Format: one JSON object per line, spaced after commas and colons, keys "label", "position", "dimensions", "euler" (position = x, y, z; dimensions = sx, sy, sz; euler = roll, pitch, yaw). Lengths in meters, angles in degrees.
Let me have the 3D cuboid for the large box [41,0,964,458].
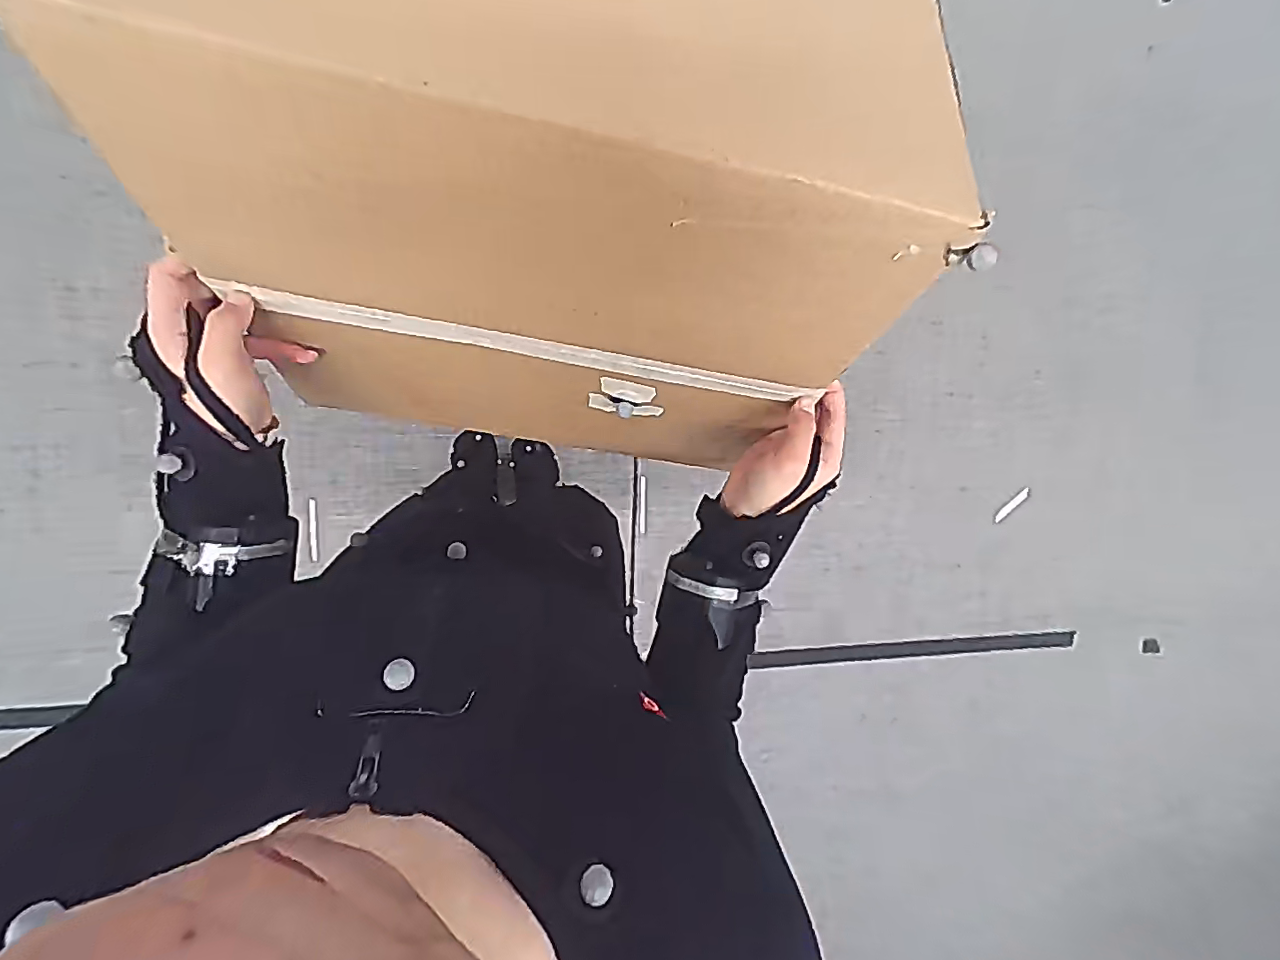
{"label": "large box", "position": [-0.055, -0.239, 0.423], "dimensions": [0.408, 0.320, 0.320], "euler": [8, 69, -8]}
